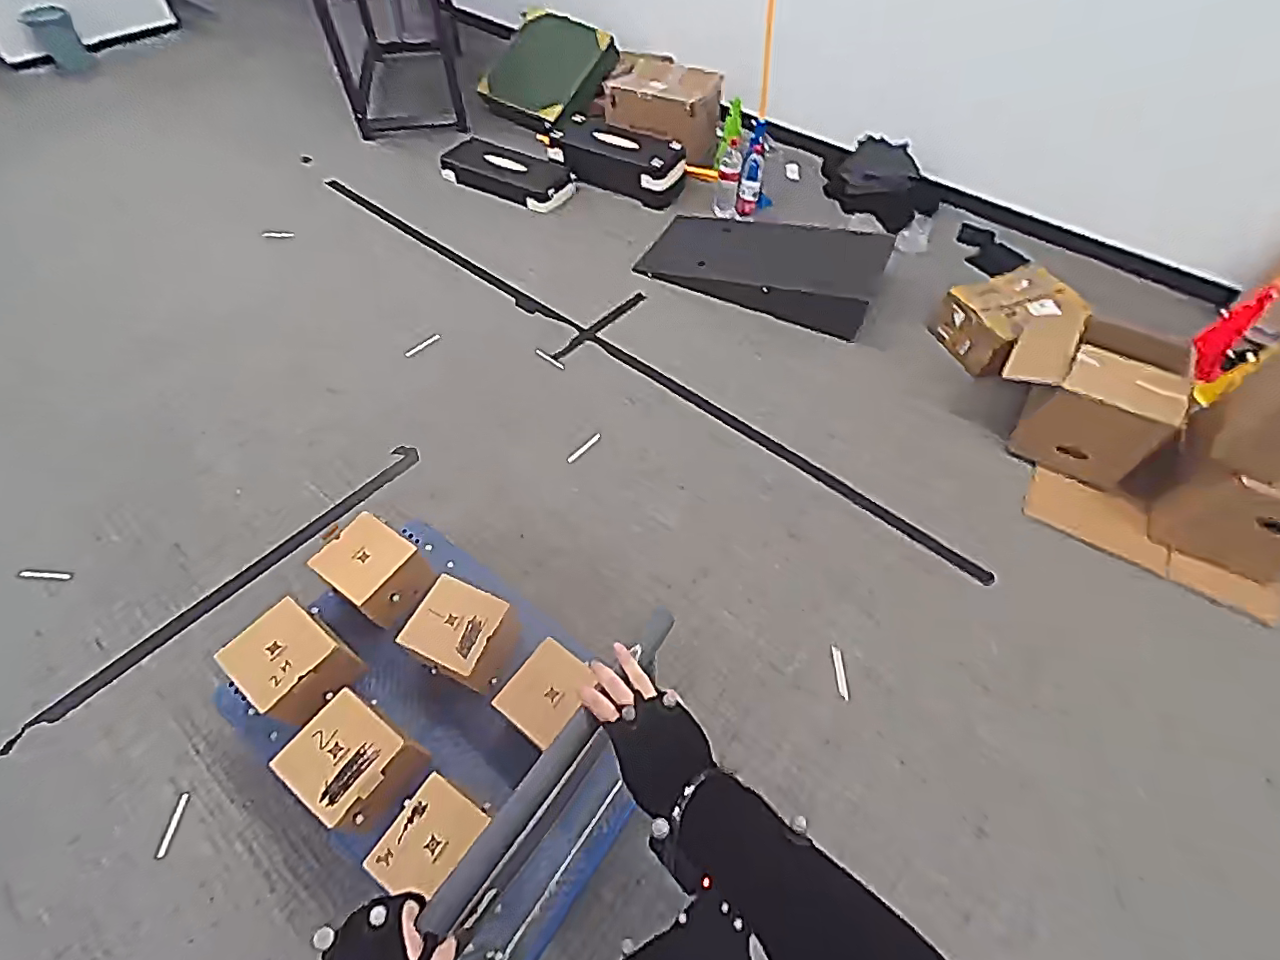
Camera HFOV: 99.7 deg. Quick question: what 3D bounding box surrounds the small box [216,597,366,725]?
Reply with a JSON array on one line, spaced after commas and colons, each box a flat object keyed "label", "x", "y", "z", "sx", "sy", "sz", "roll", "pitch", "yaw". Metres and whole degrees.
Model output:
[{"label": "small box", "x": -0.720, "y": 0.385, "z": 1.134, "sx": 0.179, "sy": 0.176, "sz": 0.168, "roll": 34, "pitch": 61, "yaw": 18}]

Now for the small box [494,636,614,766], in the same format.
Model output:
[{"label": "small box", "x": -0.167, "y": 0.458, "z": 1.109, "sx": 0.179, "sy": 0.176, "sz": 0.168, "roll": 31, "pitch": 60, "yaw": 19}]

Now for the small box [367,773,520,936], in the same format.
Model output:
[{"label": "small box", "x": -0.337, "y": 0.657, "z": 0.965, "sx": 0.179, "sy": 0.176, "sz": 0.168, "roll": 29, "pitch": 59, "yaw": 16}]

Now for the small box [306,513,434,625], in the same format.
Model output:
[{"label": "small box", "x": -0.614, "y": 0.214, "z": 1.256, "sx": 0.179, "sy": 0.176, "sz": 0.168, "roll": 29, "pitch": 60, "yaw": 16}]
